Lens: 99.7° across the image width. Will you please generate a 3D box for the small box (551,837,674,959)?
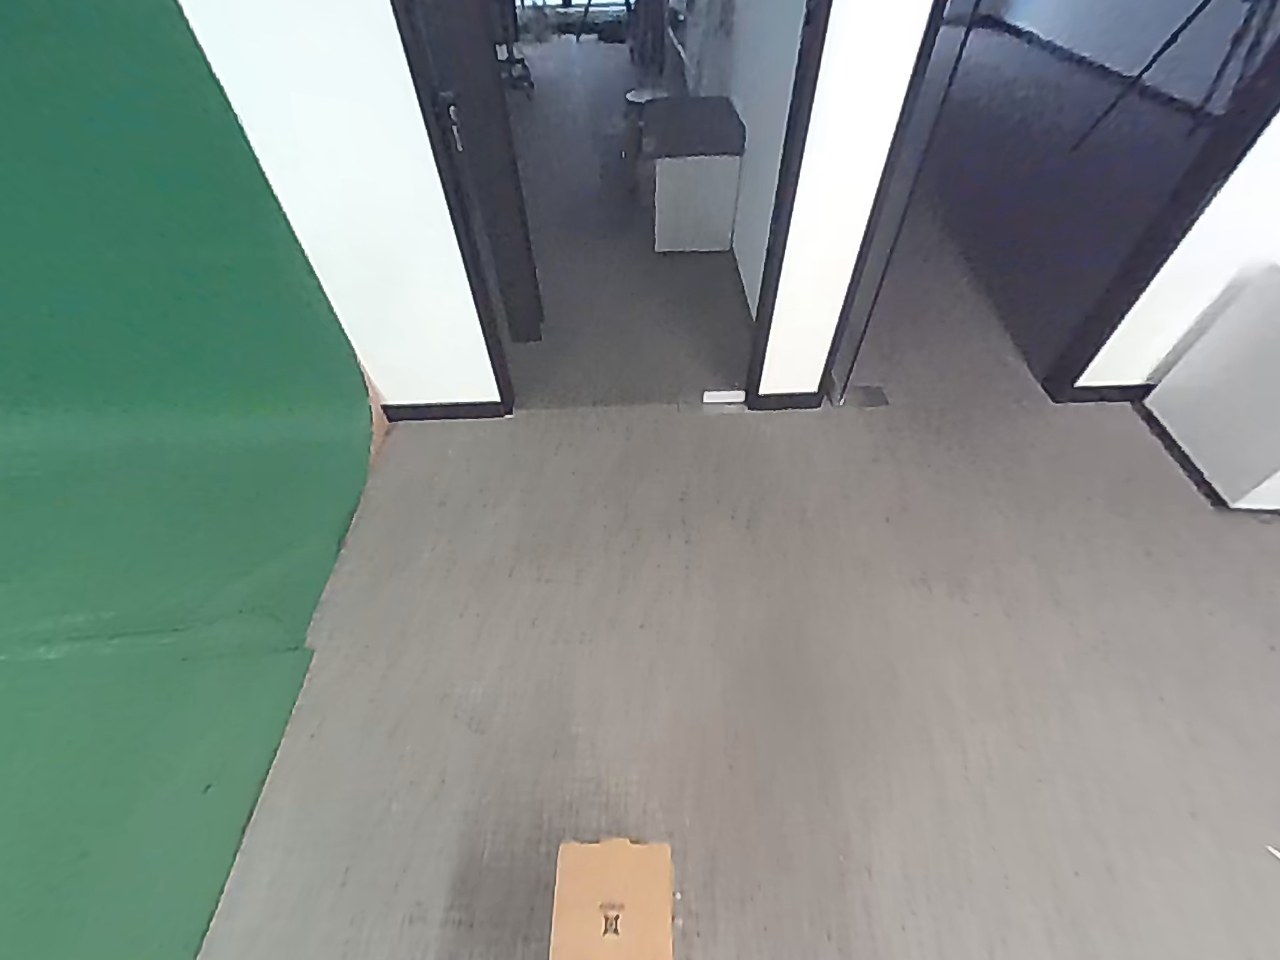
[{"bbox_3d":[-0.034,0.649,0.802,0.168,0.176,0.179,-1,48,2],"label":"small box"}]
